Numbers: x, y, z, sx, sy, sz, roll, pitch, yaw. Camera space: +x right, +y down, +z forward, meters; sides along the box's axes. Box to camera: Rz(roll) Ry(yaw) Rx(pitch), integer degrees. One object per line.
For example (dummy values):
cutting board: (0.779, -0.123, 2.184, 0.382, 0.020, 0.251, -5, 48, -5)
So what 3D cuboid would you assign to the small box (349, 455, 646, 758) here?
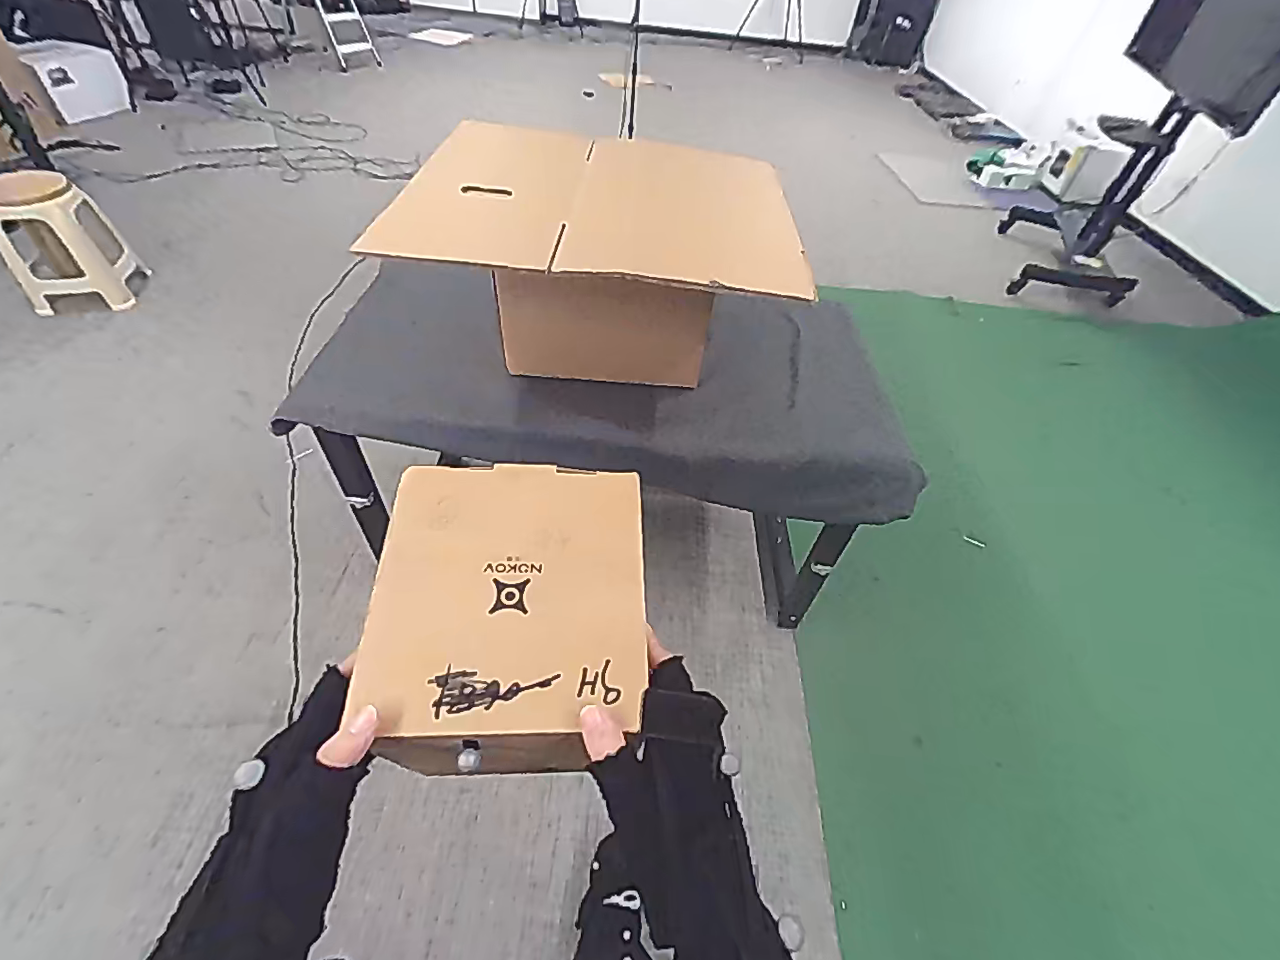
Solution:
small box: (-0.087, 0.101, 0.411, 0.168, 0.176, 0.179, 1, 55, -5)
